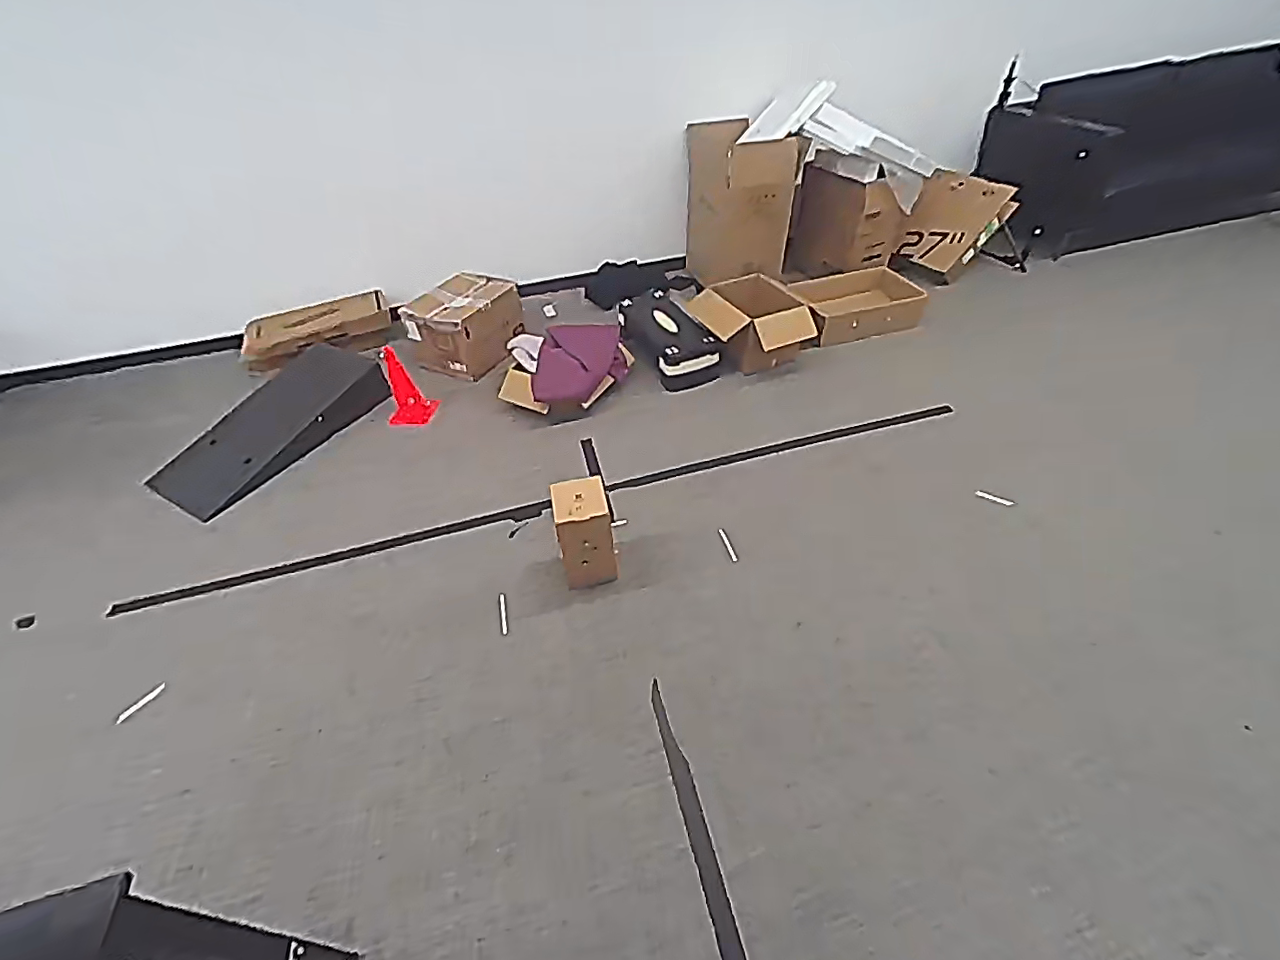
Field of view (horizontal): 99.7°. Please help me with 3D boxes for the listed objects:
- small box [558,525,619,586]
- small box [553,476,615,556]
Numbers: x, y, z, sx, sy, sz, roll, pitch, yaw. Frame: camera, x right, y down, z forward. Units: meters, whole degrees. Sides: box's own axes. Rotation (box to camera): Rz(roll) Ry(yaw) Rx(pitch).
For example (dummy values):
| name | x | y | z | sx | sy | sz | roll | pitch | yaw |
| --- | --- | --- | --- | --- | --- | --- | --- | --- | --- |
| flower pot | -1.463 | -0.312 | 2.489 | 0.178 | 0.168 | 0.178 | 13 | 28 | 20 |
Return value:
| name | x | y | z | sx | sy | sz | roll | pitch | yaw |
| --- | --- | --- | --- | --- | --- | --- | --- | --- | --- |
| small box | -0.173 | 0.238 | 1.831 | 0.179 | 0.176 | 0.168 | -10 | 44 | -6 |
| small box | -0.178 | 0.115 | 1.722 | 0.168 | 0.176 | 0.179 | -11 | 44 | -6 |
